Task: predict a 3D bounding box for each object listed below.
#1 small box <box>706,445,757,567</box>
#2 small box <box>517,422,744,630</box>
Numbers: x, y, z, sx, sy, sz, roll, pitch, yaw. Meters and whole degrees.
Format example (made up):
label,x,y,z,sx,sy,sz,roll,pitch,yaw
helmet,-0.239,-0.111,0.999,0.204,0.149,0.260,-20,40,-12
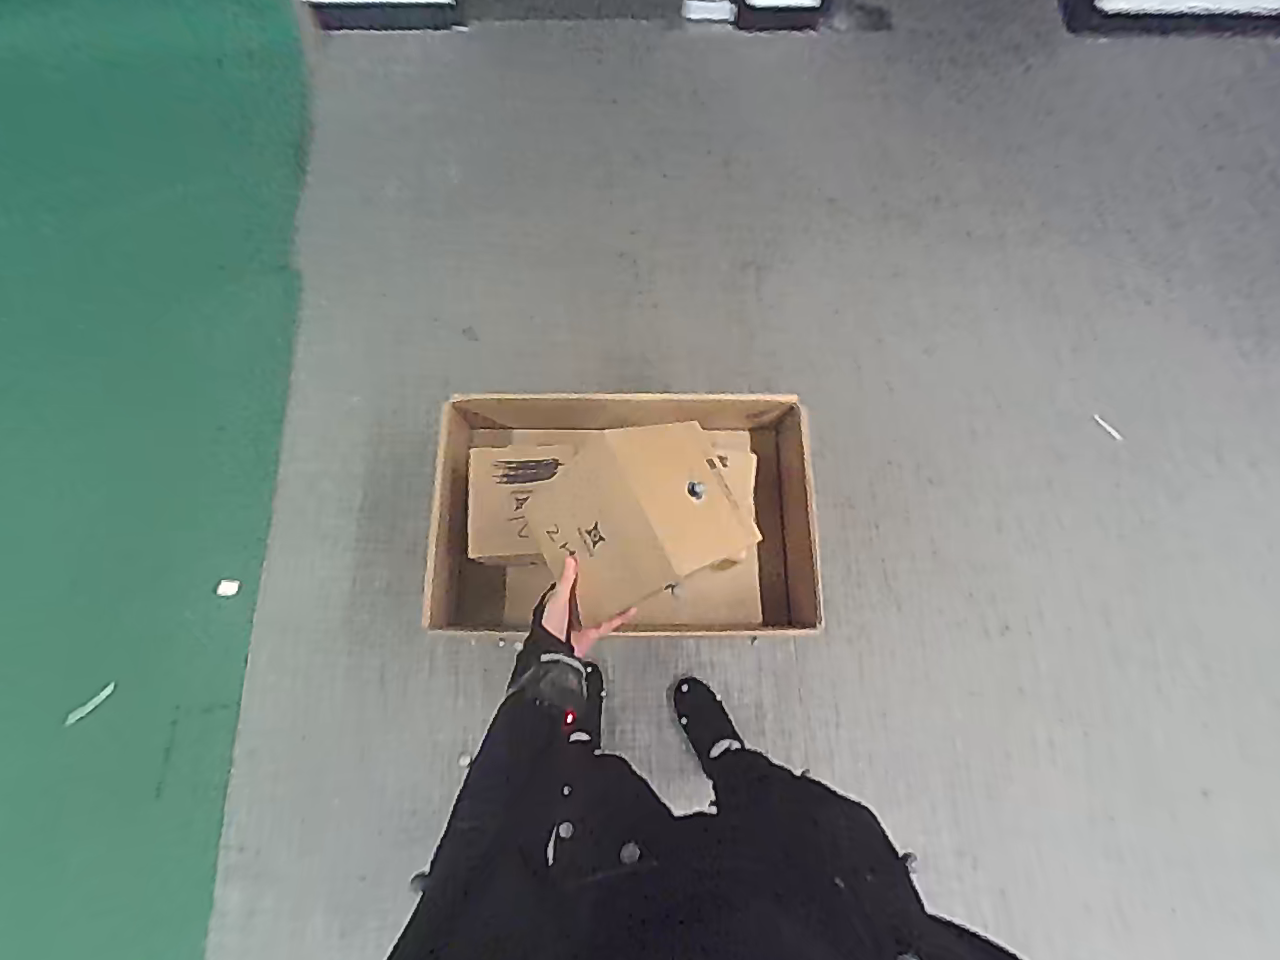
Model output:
label,x,y,z,sx,sy,sz,roll,pitch,yaw
small box,0.089,0.046,0.917,0.168,0.176,0.179,10,76,1
small box,-0.004,0.045,0.623,0.176,0.179,0.168,-12,70,-48
